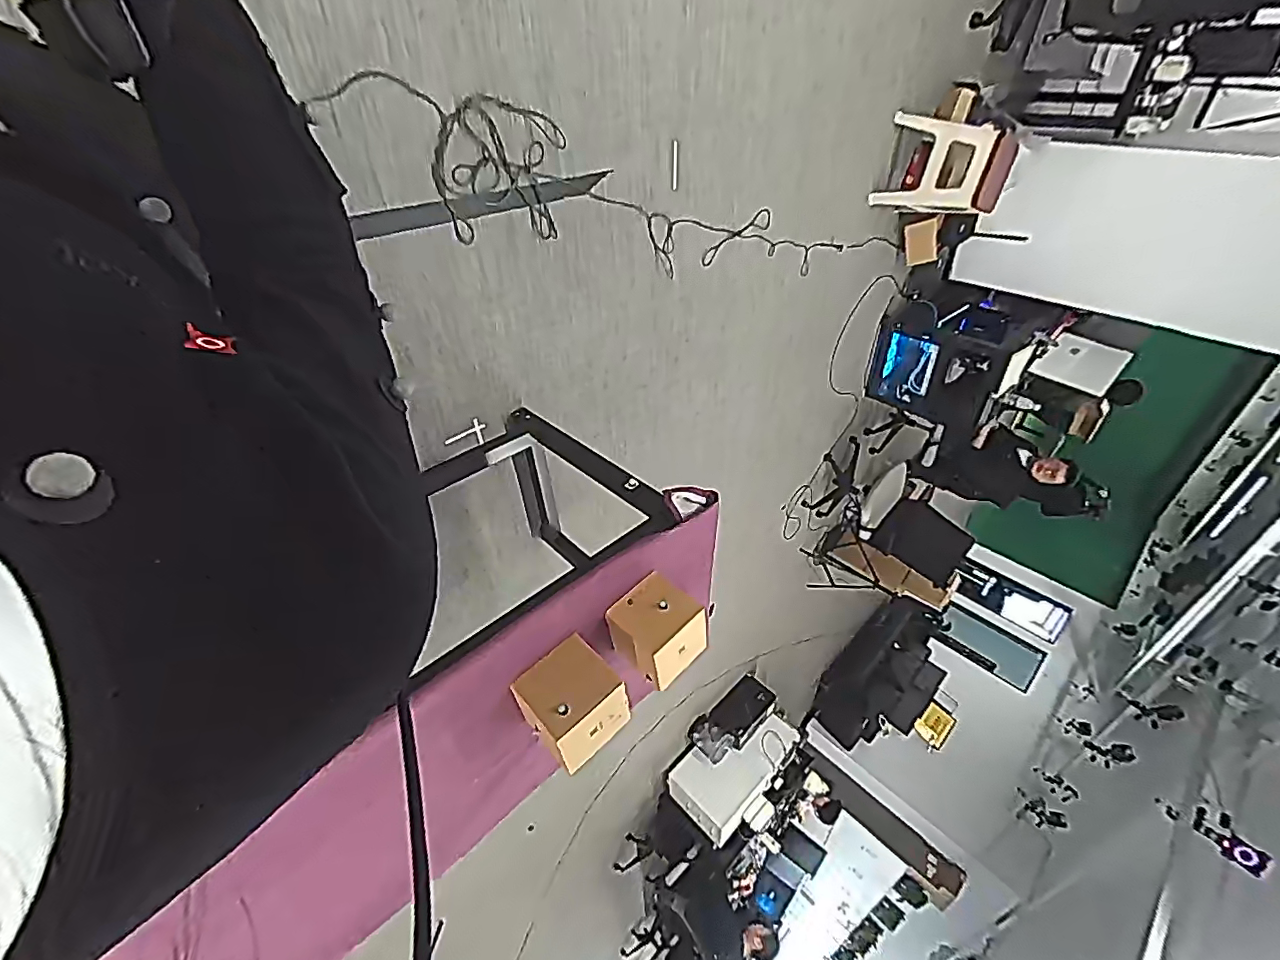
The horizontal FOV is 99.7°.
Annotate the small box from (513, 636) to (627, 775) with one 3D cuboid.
[{"bbox_3d":[-0.151,0.474,1.153,0.179,0.176,0.168,-34,139,-28],"label":"small box"}]

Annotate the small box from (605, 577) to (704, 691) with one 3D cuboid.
[{"bbox_3d":[0.033,0.356,1.287,0.168,0.176,0.179,-37,140,-27],"label":"small box"}]
